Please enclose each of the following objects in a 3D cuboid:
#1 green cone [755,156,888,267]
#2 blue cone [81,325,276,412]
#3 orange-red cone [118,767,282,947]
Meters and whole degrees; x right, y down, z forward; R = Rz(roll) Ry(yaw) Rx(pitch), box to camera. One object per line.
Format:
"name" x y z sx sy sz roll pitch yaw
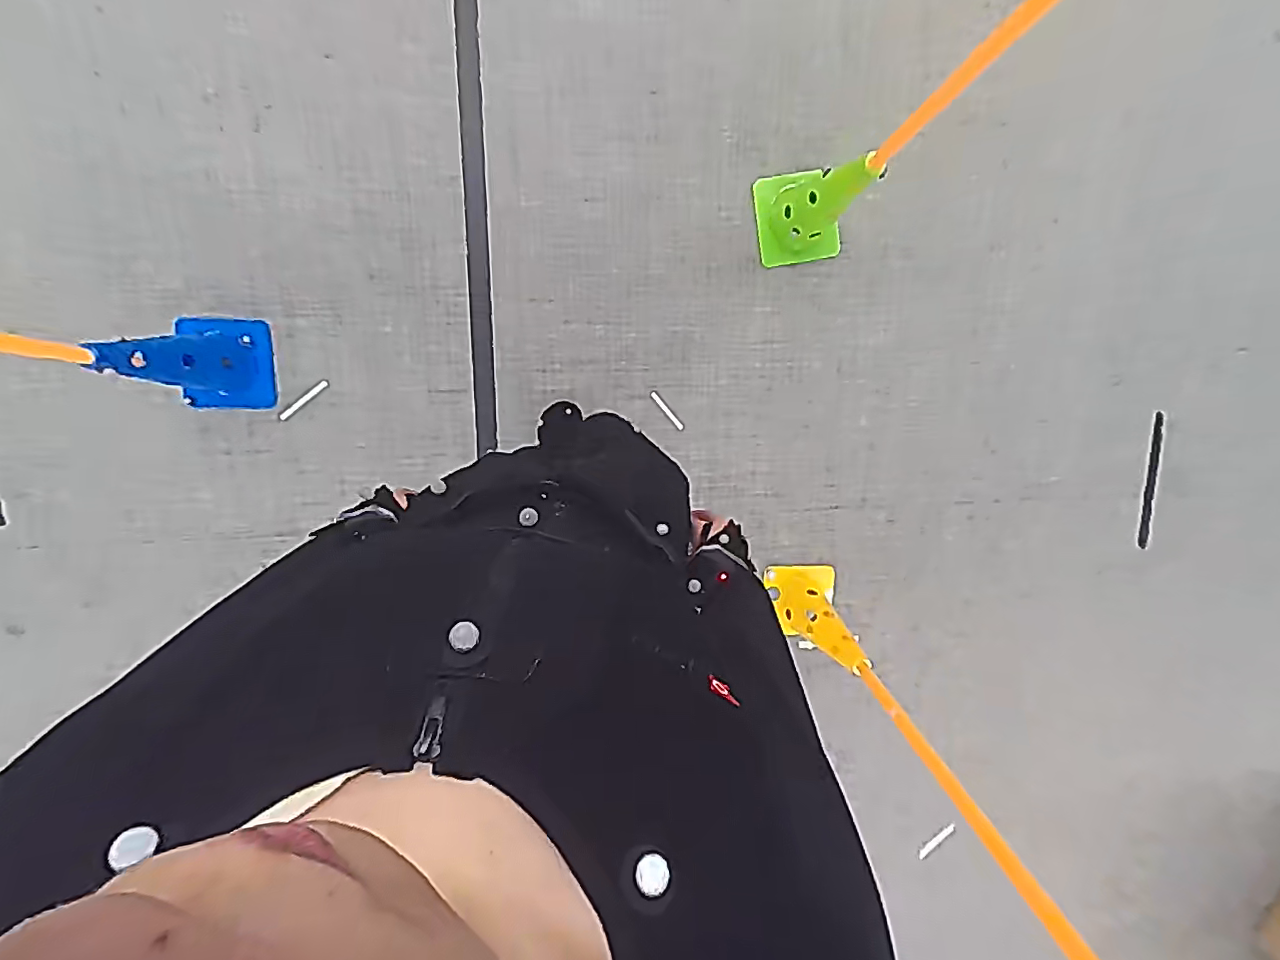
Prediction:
"green cone" 0.395 -0.591 1.122 0.200 0.368 0.202 -12 103 -3
"blue cone" -0.918 -0.222 1.065 0.193 0.380 0.192 1 101 -6
"orange-red cone" -1.025 0.871 1.234 0.199 0.360 0.198 -7 101 -6
